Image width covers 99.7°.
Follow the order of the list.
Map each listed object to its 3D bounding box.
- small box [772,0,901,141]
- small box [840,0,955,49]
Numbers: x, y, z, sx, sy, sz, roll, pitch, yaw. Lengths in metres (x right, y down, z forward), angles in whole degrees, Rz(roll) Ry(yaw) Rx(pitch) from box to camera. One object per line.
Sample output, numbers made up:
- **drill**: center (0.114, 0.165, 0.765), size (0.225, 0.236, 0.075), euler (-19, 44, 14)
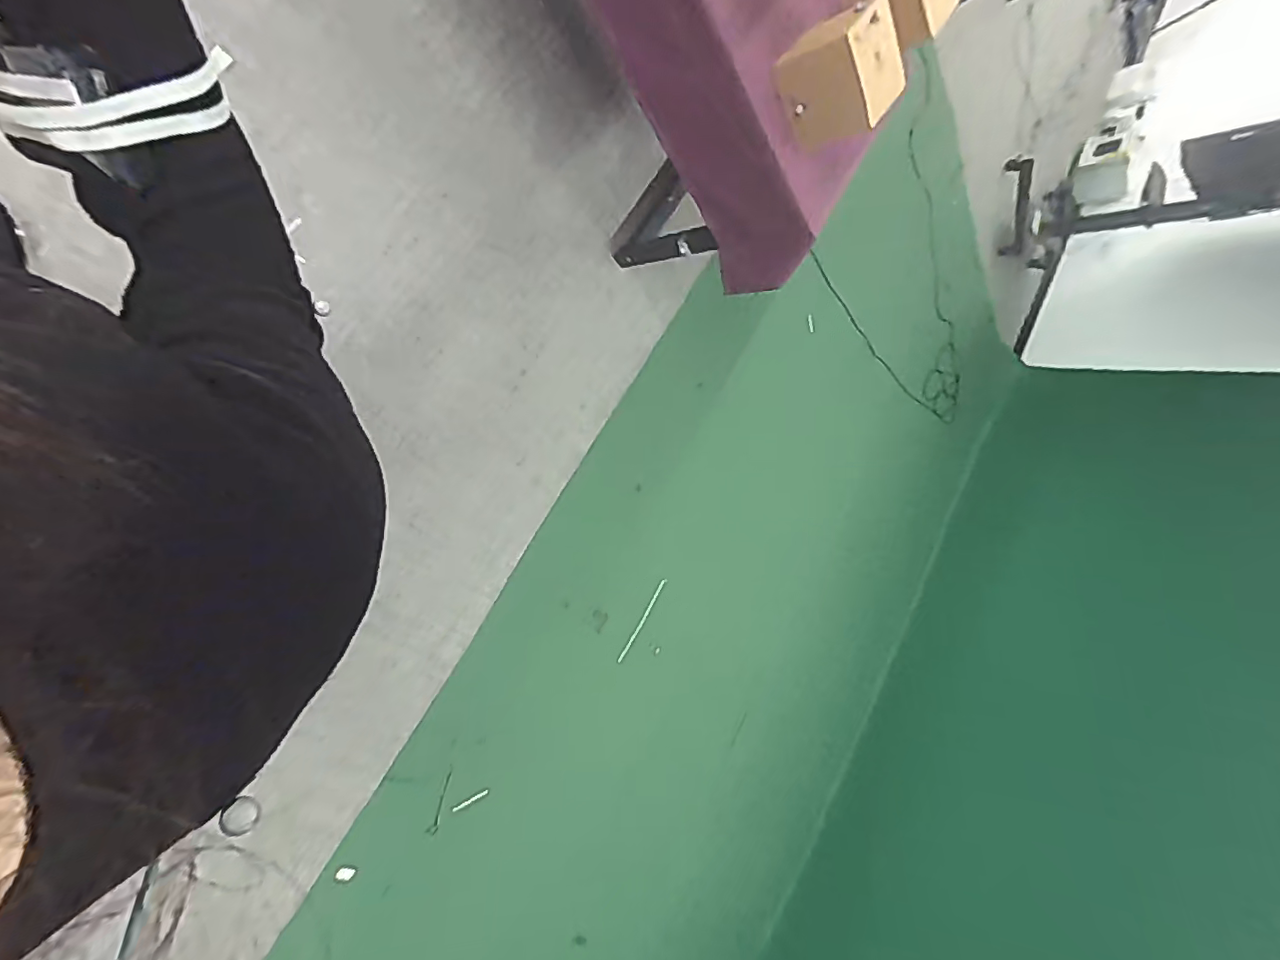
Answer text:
- **small box**: center (0.400, -0.825, 1.101), size (0.168, 0.176, 0.179), euler (-54, 130, -19)
- **small box**: center (0.567, -1.076, 1.188), size (0.179, 0.176, 0.168), euler (-55, 129, -16)
